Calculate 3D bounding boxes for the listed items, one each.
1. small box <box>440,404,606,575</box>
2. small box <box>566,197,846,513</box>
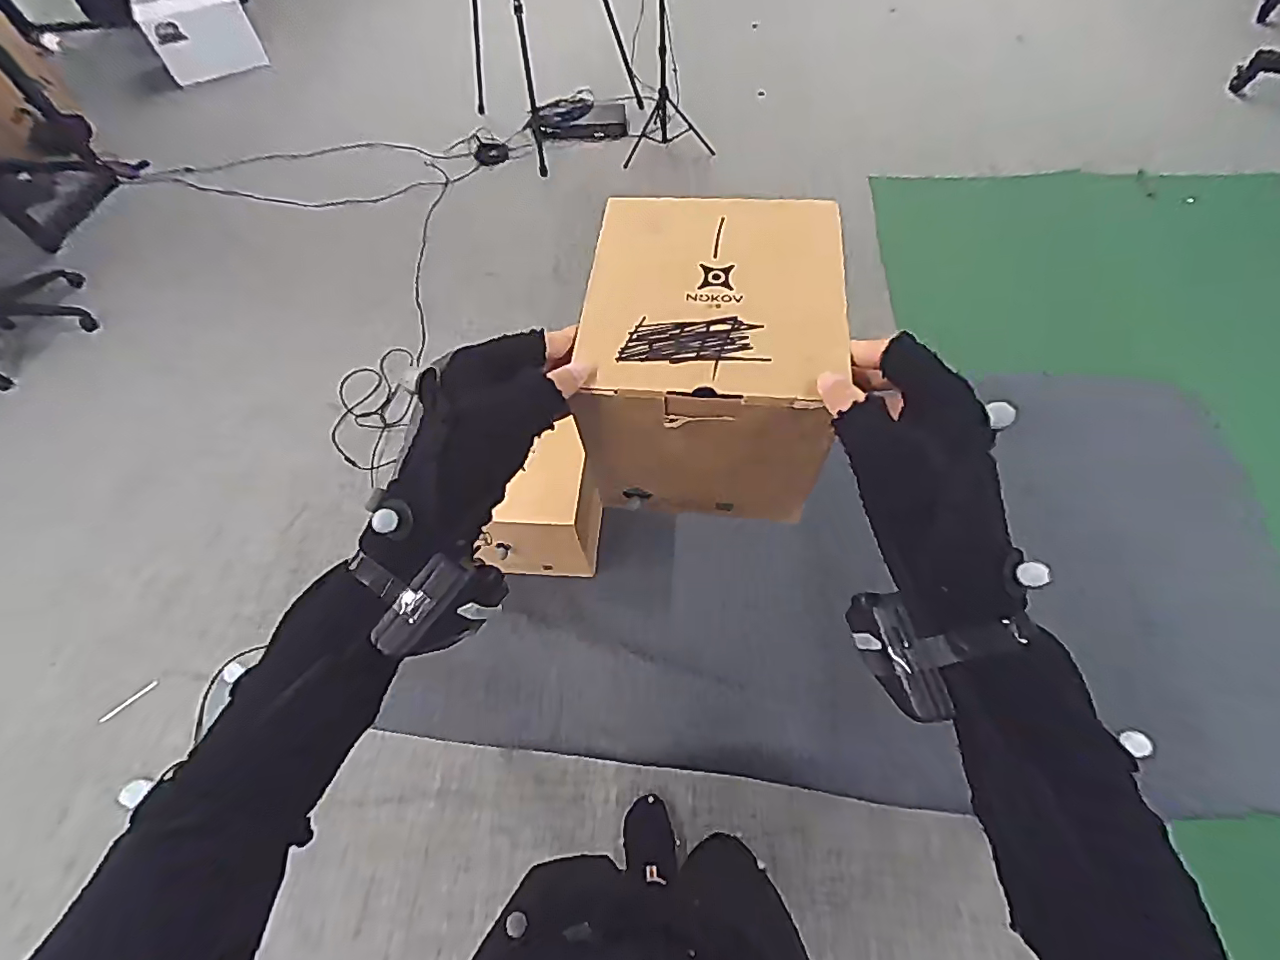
[{"bbox_3d":[-0.142,0.018,0.730,0.168,0.176,0.179,1,58,5],"label":"small box"},{"bbox_3d":[0.053,-0.087,0.418,0.168,0.176,0.179,4,63,7],"label":"small box"}]
